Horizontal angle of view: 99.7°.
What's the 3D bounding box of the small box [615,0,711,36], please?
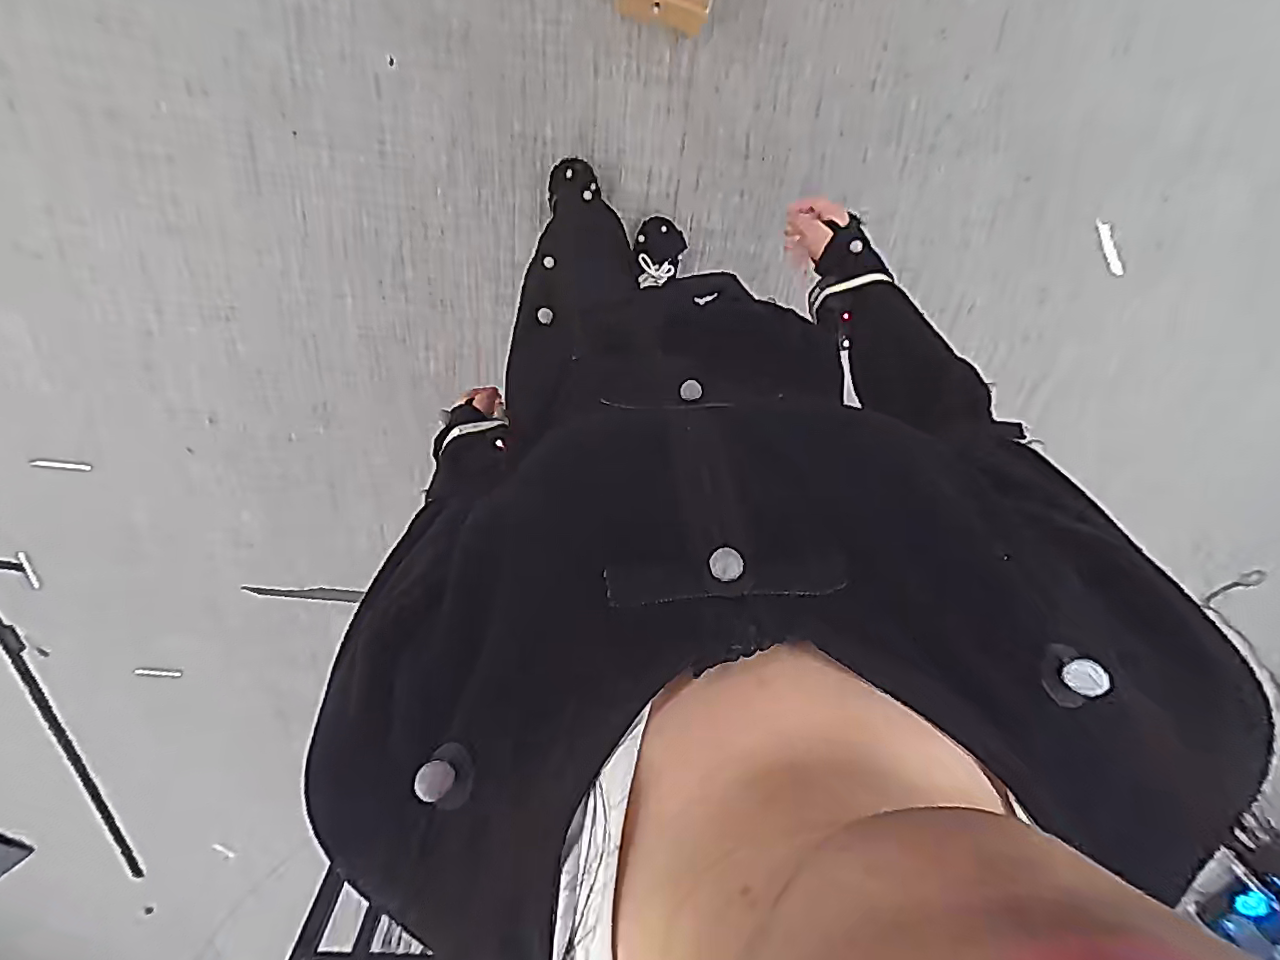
[{"bbox_3d":[0.054,-0.971,1.013,0.179,0.176,0.168,12,117,-7],"label":"small box"}]
